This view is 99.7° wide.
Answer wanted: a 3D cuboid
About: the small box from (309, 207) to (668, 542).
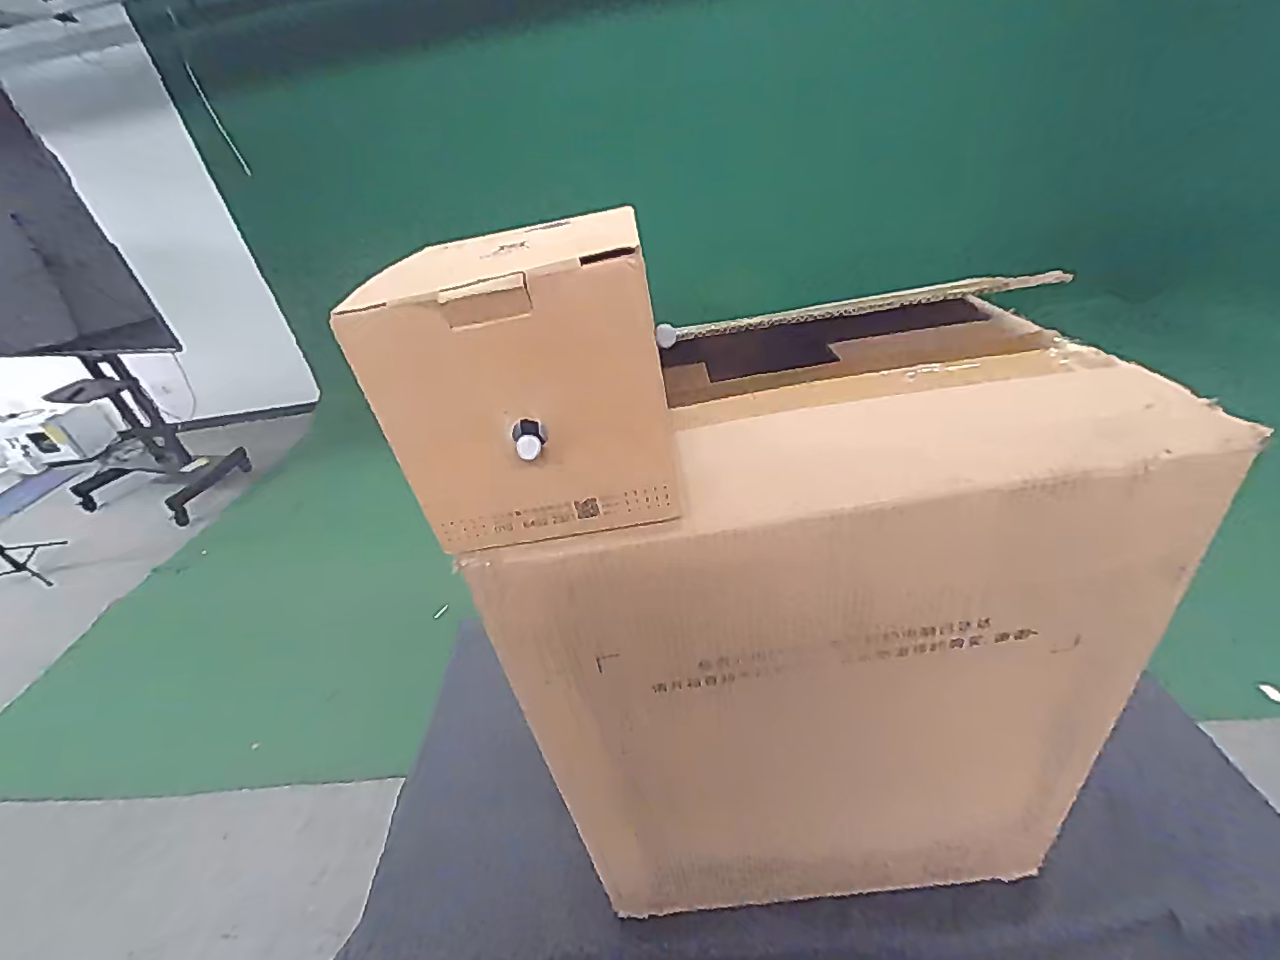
[{"bbox_3d":[-0.076,-0.071,0.379,0.168,0.176,0.179,-9,34,4],"label":"small box"}]
